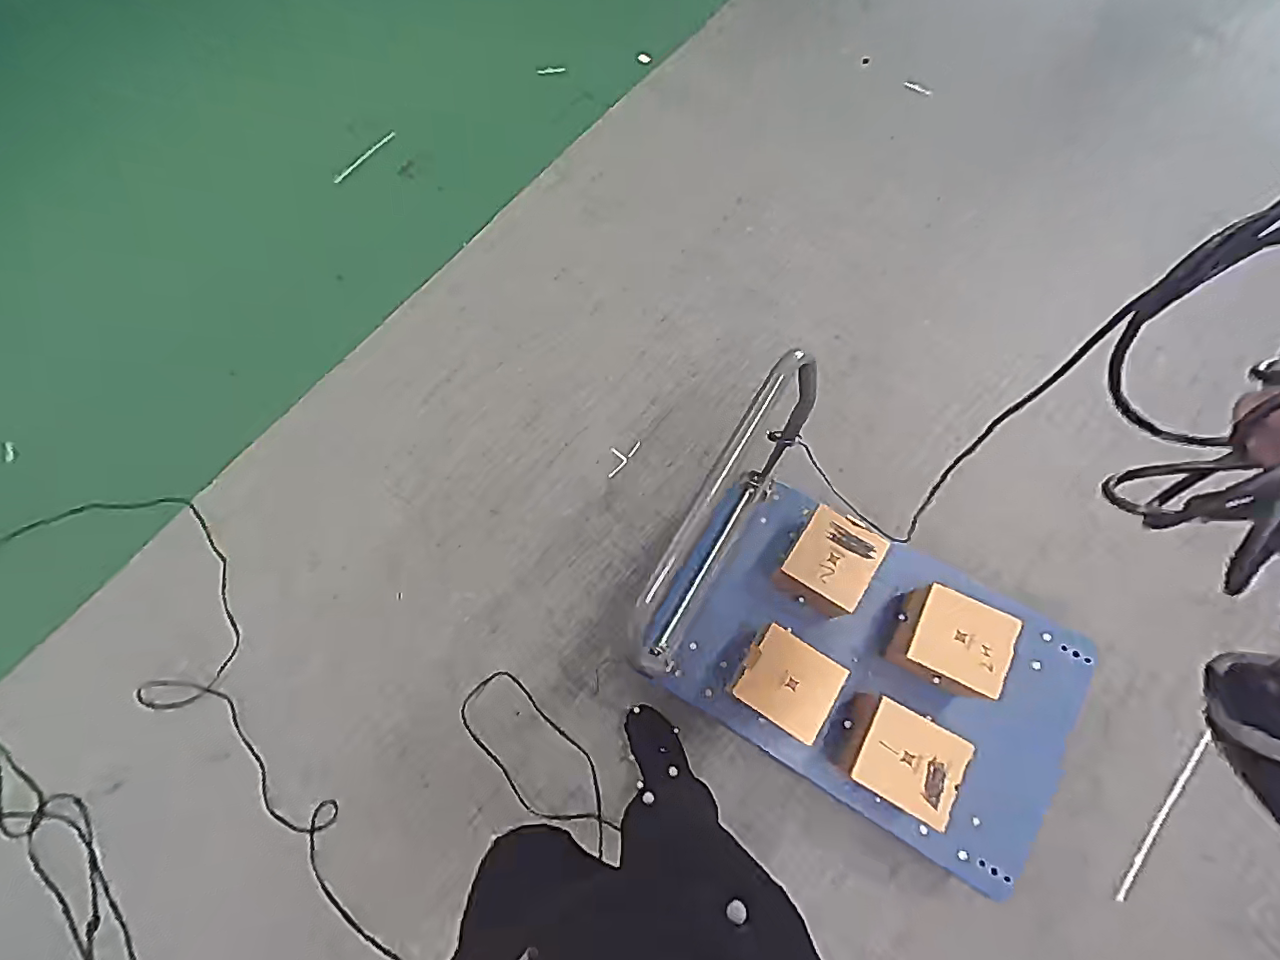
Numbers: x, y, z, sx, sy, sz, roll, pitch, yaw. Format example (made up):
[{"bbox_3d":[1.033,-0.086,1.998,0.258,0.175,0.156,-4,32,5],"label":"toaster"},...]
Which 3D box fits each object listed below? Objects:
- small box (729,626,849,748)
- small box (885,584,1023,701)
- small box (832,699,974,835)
[{"bbox_3d":[0.302,0.427,1.136,0.179,0.176,0.168,31,77,16],"label":"small box"},{"bbox_3d":[0.641,0.340,1.128,0.179,0.176,0.168,25,76,14],"label":"small box"},{"bbox_3d":[0.509,0.550,1.070,0.179,0.176,0.168,27,75,15],"label":"small box"}]
